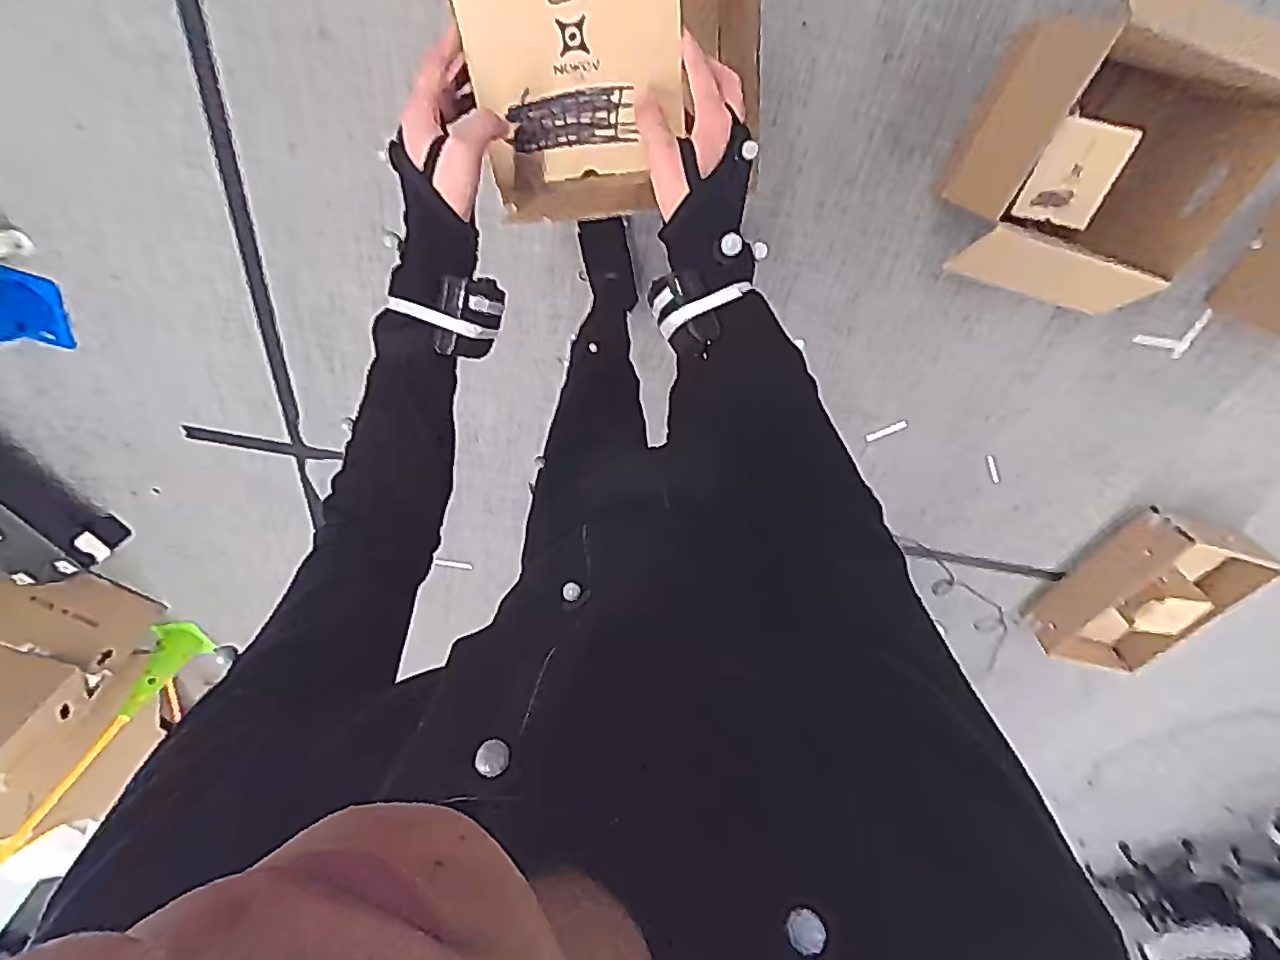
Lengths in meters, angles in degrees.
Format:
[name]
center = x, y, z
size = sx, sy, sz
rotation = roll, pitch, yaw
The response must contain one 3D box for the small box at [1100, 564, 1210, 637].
[small box]
center = 1.757, 0.410, 1.860
size = 0.179, 0.176, 0.168
rotation = 10, 128, -6
